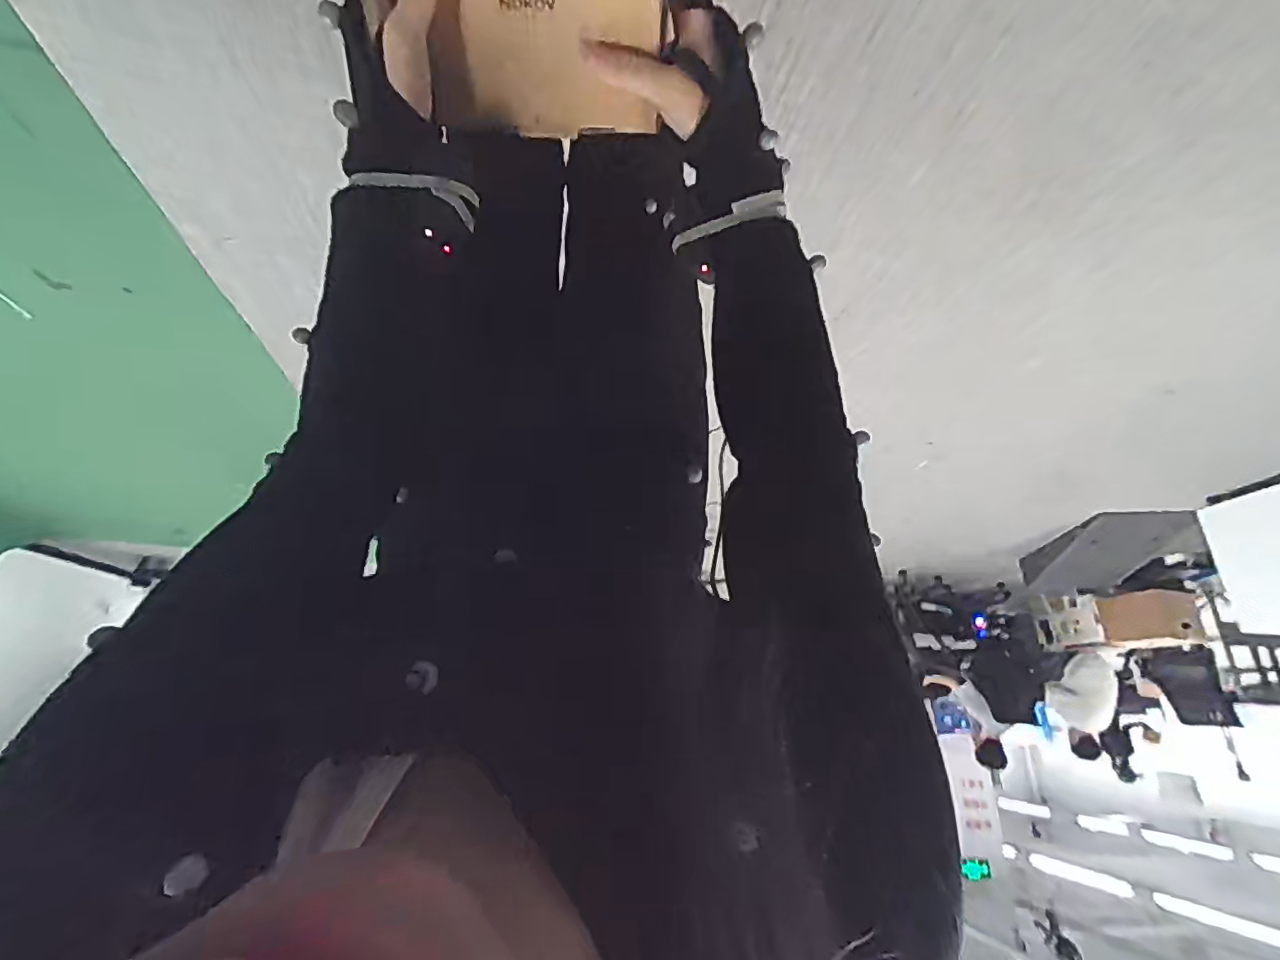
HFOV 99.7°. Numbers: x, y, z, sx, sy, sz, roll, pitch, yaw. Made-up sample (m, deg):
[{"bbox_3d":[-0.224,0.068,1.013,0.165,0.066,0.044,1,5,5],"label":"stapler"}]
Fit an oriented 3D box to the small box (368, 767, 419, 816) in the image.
[{"bbox_3d":[-1.075,1.360,2.371,0.168,0.176,0.179,10,156,-15],"label":"small box"}]
